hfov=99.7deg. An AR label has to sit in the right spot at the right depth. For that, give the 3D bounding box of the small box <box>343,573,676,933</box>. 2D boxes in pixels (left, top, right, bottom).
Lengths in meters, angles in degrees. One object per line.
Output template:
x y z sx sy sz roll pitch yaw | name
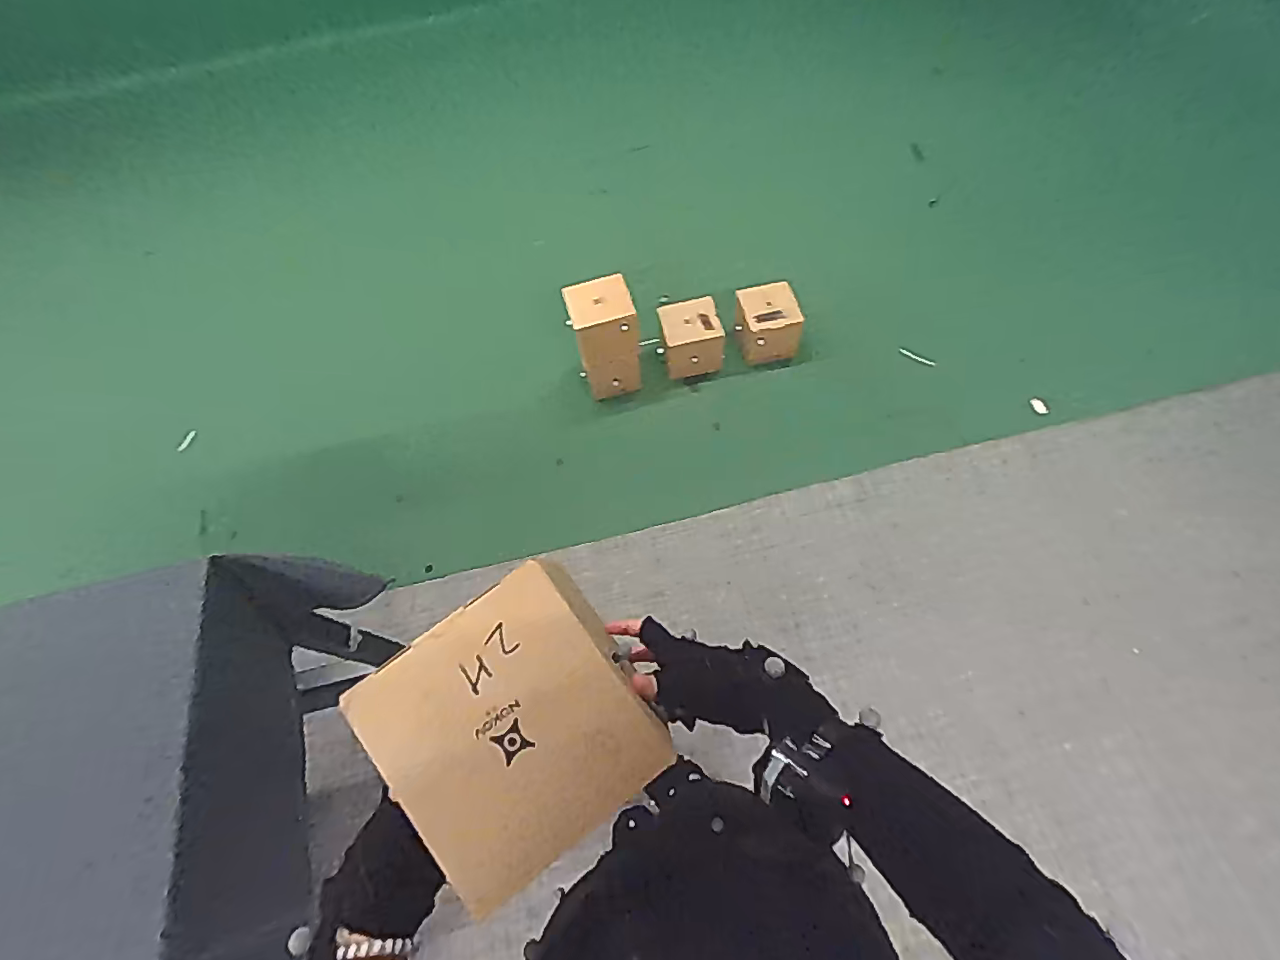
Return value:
-0.089 0.190 0.442 0.168 0.176 0.179 -34 82 -7 | small box

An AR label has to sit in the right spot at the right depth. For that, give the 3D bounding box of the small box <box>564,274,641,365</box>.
-0.105 -0.457 1.562 0.179 0.176 0.168 -16 63 -4 | small box

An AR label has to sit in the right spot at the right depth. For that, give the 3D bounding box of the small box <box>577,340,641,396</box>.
-0.098 -0.384 1.708 0.168 0.176 0.179 -15 65 -3 | small box
